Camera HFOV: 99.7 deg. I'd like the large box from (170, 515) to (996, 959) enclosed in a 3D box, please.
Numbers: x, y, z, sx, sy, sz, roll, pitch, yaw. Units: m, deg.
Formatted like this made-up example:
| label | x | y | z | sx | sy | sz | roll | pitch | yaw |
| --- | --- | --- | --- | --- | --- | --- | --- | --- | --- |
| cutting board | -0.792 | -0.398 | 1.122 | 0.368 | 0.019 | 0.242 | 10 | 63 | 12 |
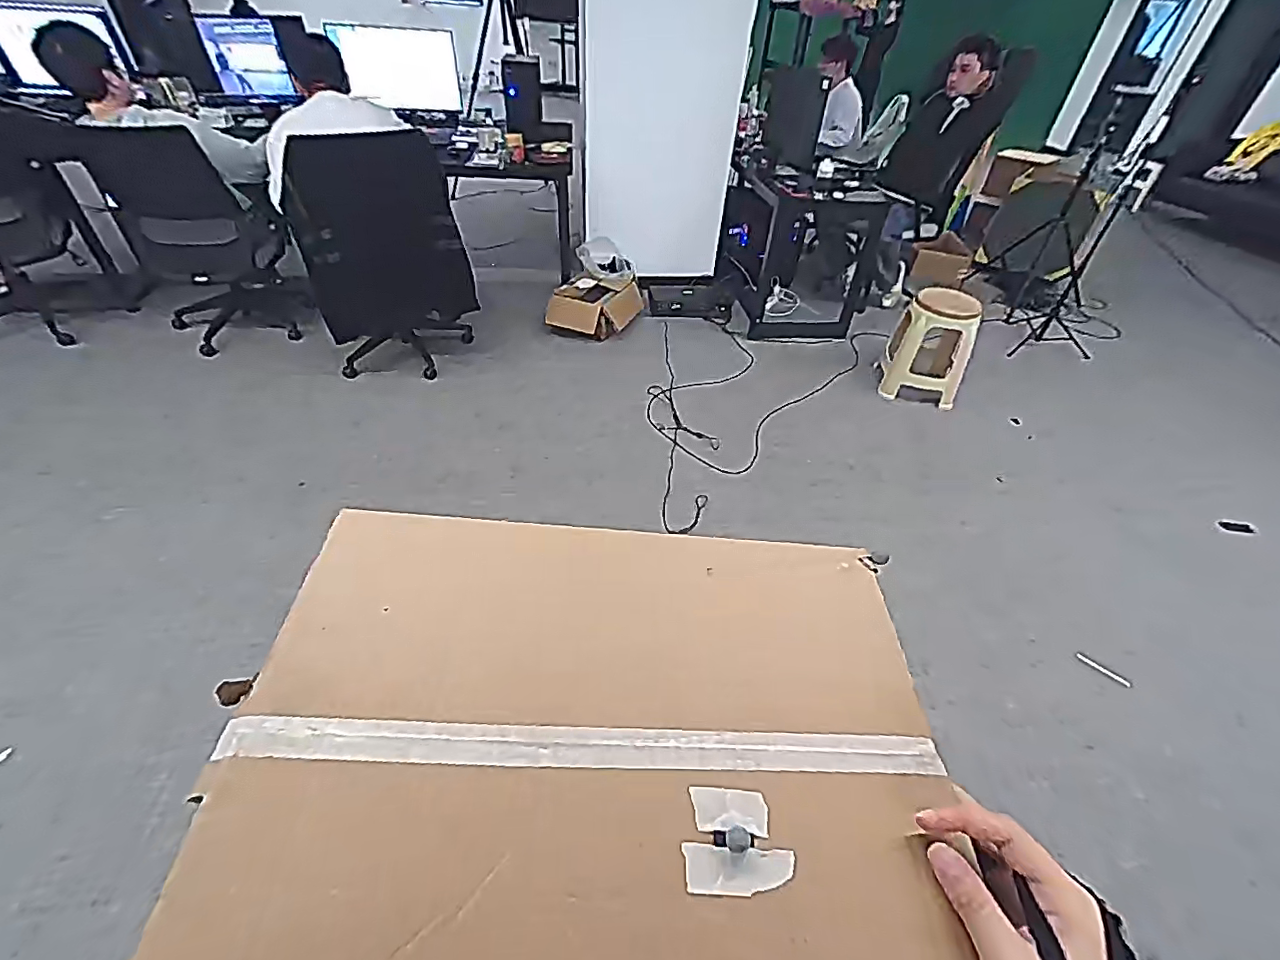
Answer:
| label | x | y | z | sx | sy | sz | roll | pitch | yaw |
| --- | --- | --- | --- | --- | --- | --- | --- | --- | --- |
| large box | -0.036 | 0.254 | 0.435 | 0.408 | 0.320 | 0.320 | 6 | 49 | -7 |
